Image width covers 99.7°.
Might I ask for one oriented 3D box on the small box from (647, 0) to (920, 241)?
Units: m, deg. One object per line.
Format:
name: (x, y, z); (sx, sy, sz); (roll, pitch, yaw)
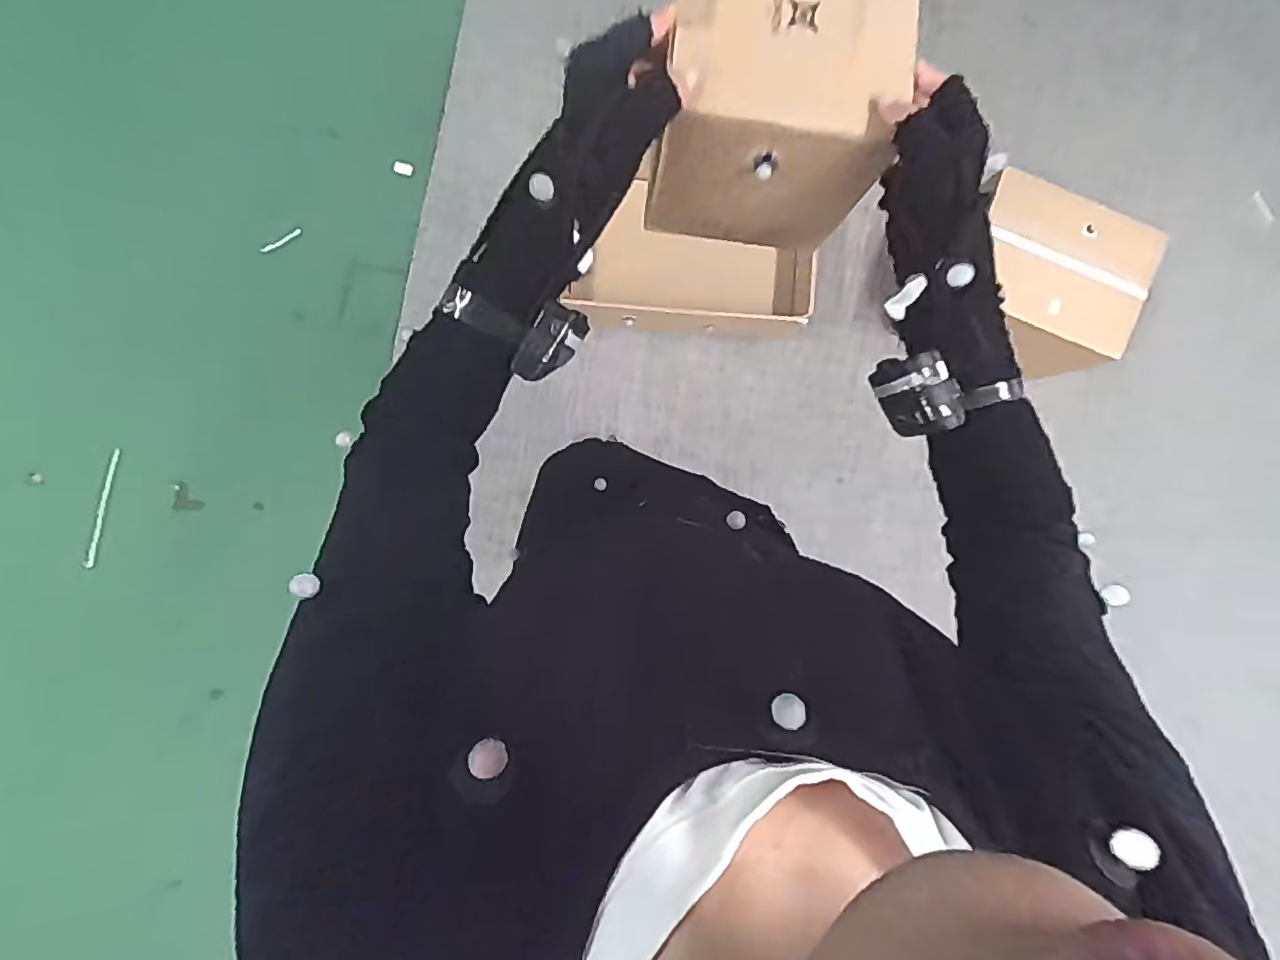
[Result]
small box: (0.104, -0.325, 0.455); (0.179, 0.176, 0.168); (6, 87, -6)
